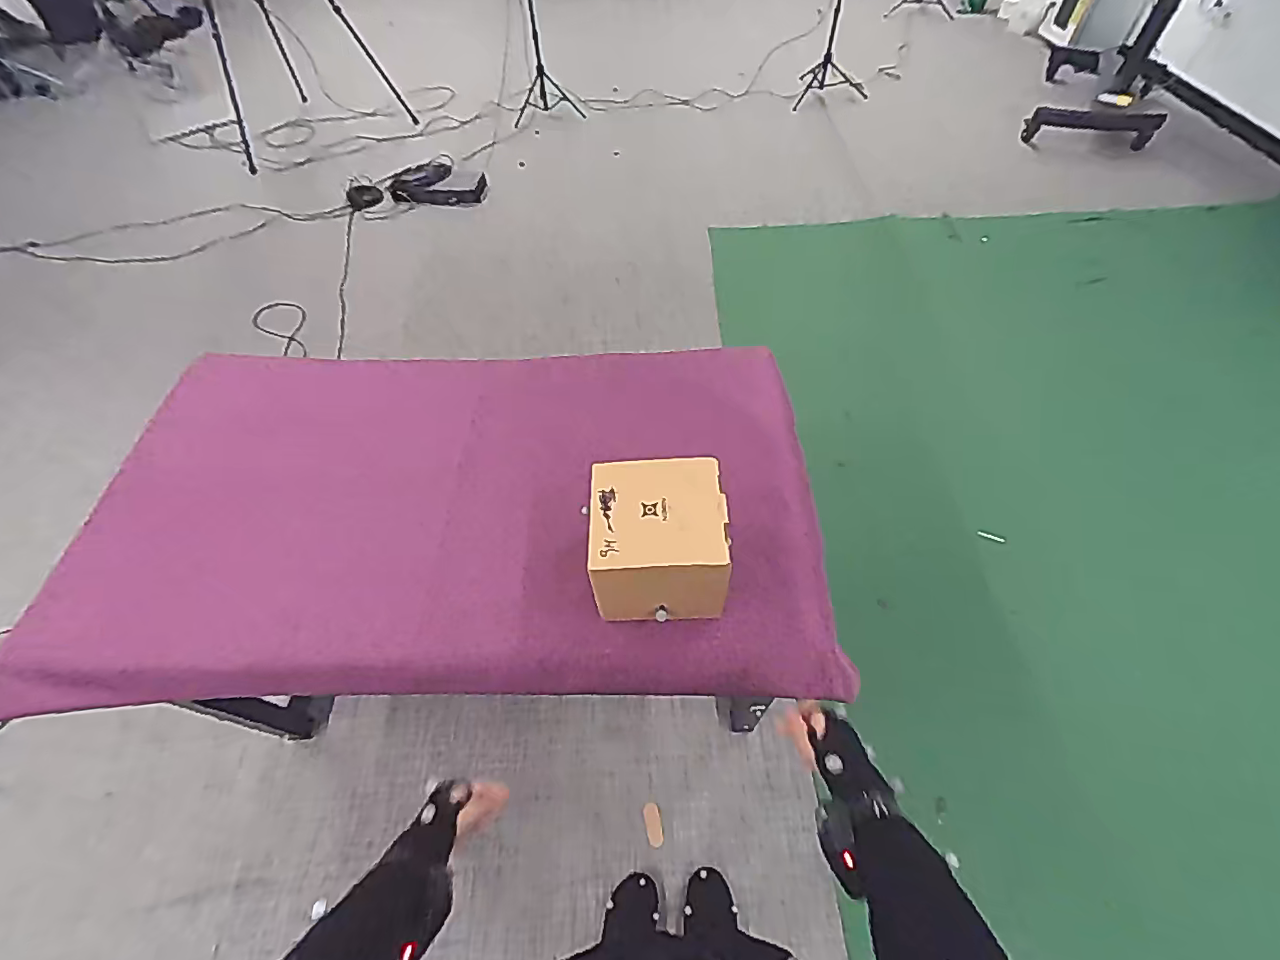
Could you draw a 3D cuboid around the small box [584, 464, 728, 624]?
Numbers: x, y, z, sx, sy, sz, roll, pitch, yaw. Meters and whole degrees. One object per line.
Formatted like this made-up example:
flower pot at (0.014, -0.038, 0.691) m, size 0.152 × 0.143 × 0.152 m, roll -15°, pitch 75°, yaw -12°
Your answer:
small box at (0.022, 0.094, 0.760) m, size 0.179 × 0.176 × 0.168 m, roll -2°, pitch 52°, yaw 2°
